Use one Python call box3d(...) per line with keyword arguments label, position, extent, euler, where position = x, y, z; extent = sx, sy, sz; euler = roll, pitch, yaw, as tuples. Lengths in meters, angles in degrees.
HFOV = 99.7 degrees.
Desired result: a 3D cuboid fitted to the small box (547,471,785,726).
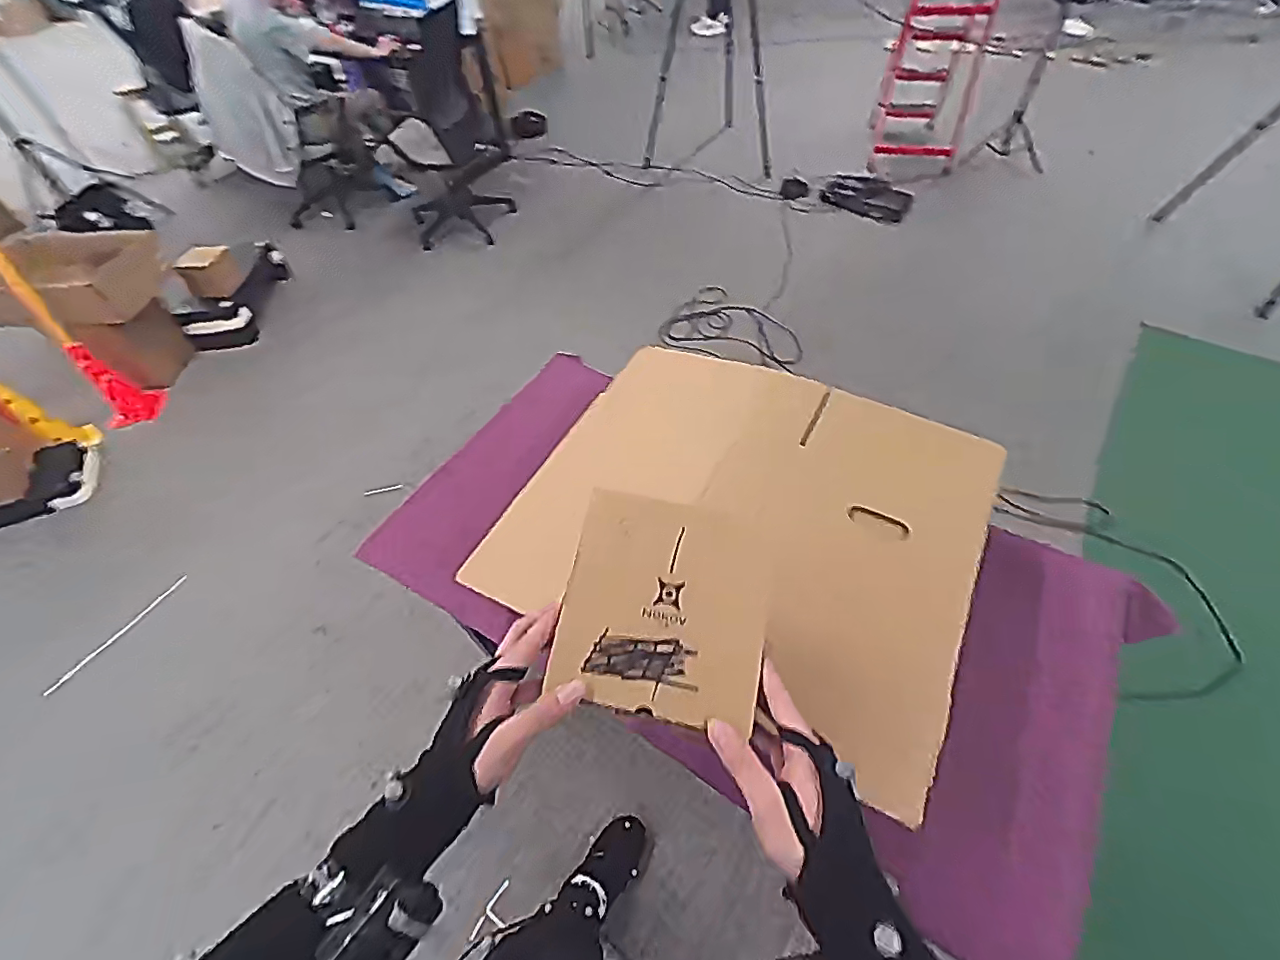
box3d(label="small box", position=(0.029, 0.113, 0.512), extent=(0.168, 0.176, 0.179), euler=(11, 72, 7))
